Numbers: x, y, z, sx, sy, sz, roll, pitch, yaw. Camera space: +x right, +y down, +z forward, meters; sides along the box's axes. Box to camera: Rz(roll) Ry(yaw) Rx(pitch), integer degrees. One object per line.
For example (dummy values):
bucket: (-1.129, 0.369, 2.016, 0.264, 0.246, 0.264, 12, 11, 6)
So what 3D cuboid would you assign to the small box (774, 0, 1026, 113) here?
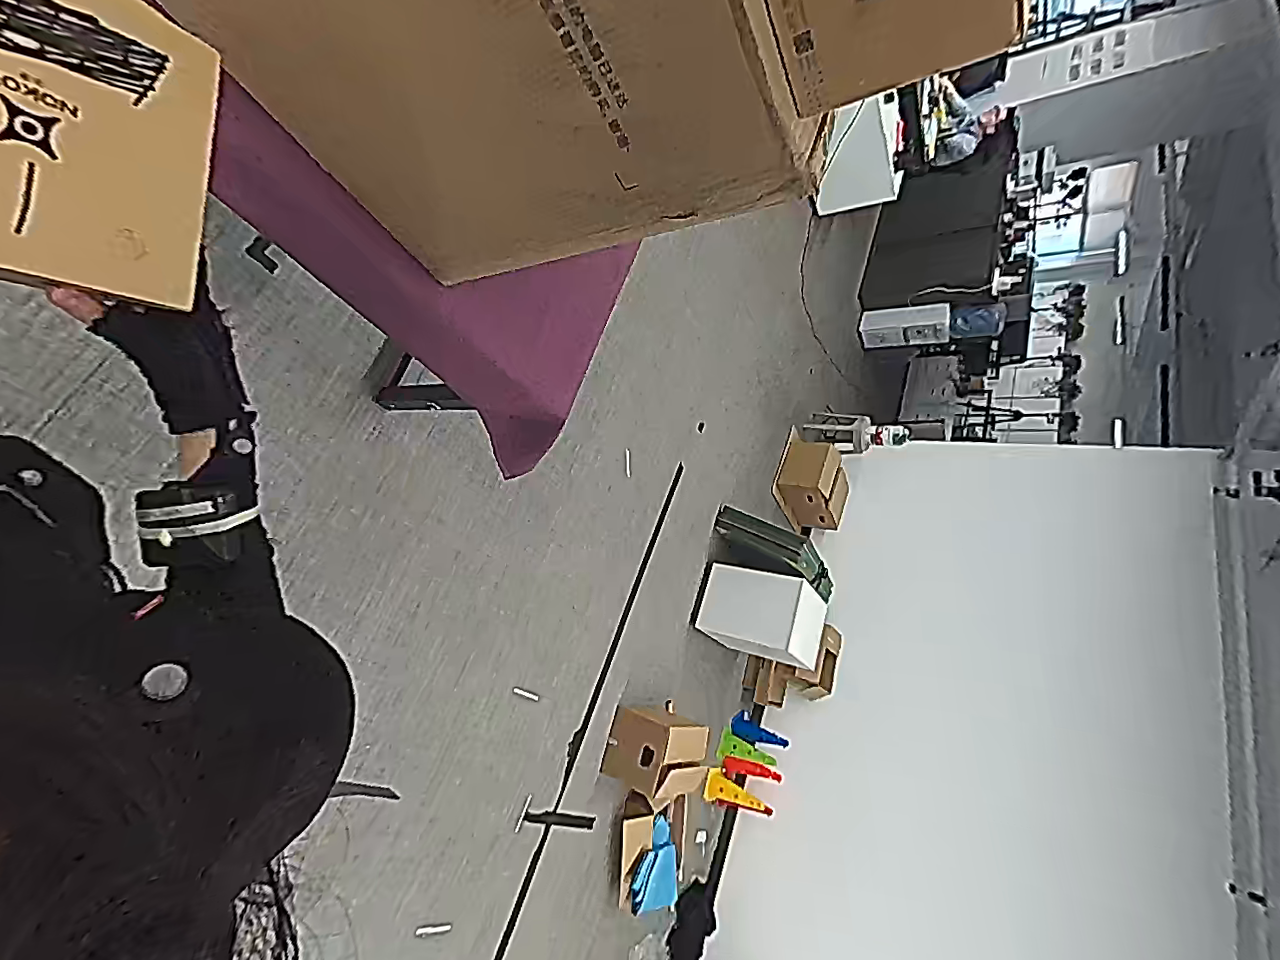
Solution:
small box: (0.206, -0.439, 0.430, 0.168, 0.176, 0.179, 47, 57, -46)

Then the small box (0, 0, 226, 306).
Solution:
small box: (-0.397, -0.220, 0.330, 0.168, 0.176, 0.179, -1, 102, -64)
